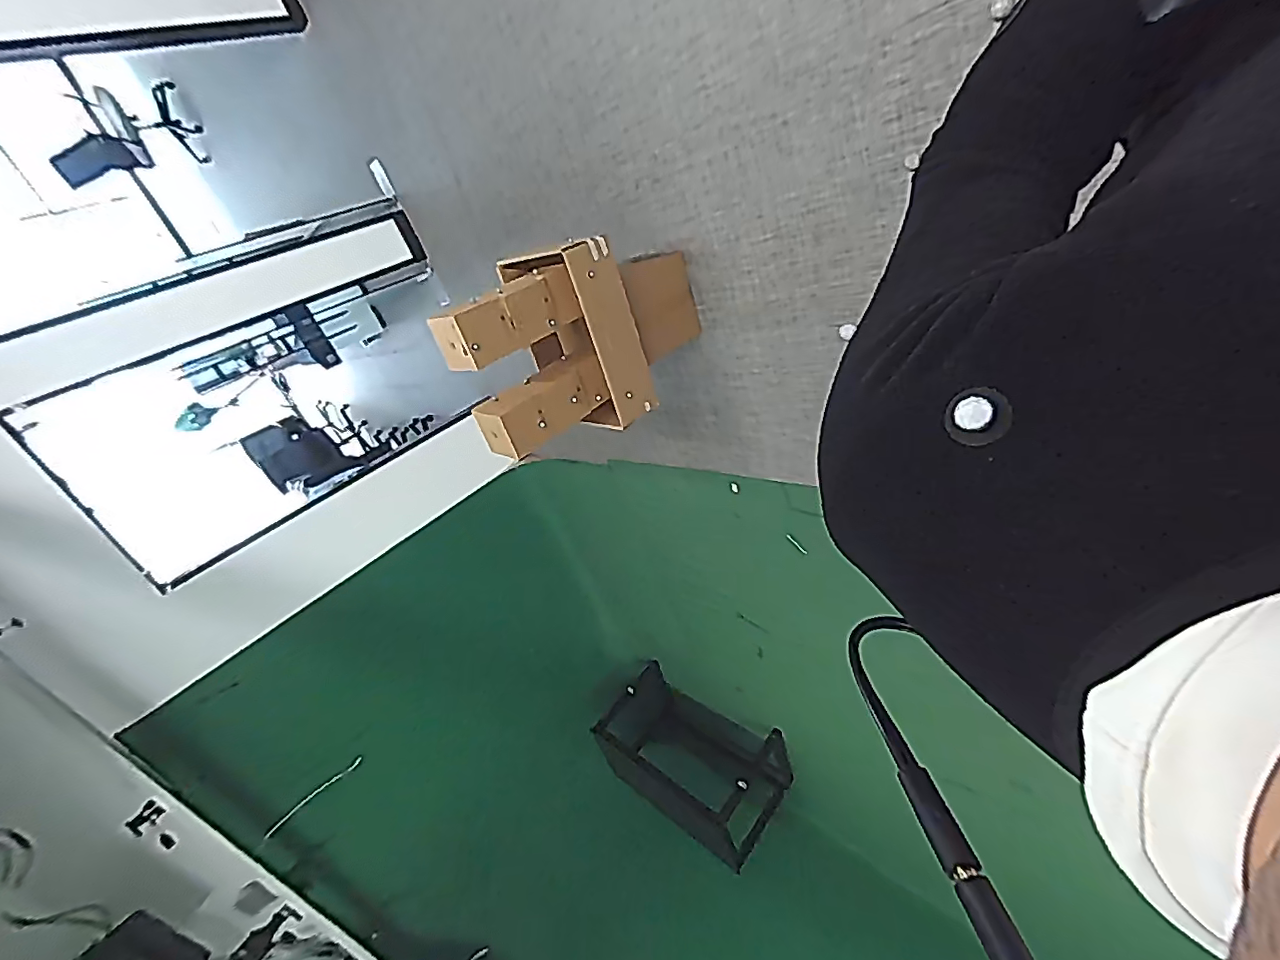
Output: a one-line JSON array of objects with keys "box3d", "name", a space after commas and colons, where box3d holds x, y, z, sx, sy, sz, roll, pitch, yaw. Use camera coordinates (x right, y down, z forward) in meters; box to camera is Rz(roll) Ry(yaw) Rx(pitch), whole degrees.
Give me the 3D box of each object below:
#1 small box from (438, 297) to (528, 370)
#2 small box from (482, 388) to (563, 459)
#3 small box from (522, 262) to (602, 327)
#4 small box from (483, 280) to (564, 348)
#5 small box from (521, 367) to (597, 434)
[{"box3d": [-0.476, -0.448, 1.653, 0.179, 0.176, 0.168, 12, 131, 45], "name": "small box"}, {"box3d": [-0.387, -0.195, 1.799, 0.179, 0.176, 0.168, 16, 135, 43], "name": "small box"}, {"box3d": [-0.260, -0.625, 1.827, 0.179, 0.176, 0.168, 13, 132, 43], "name": "small box"}, {"box3d": [-0.364, -0.534, 1.736, 0.179, 0.176, 0.168, 16, 133, 43], "name": "small box"}, {"box3d": [-0.279, -0.282, 1.885, 0.179, 0.176, 0.168, 16, 135, 43], "name": "small box"}]
